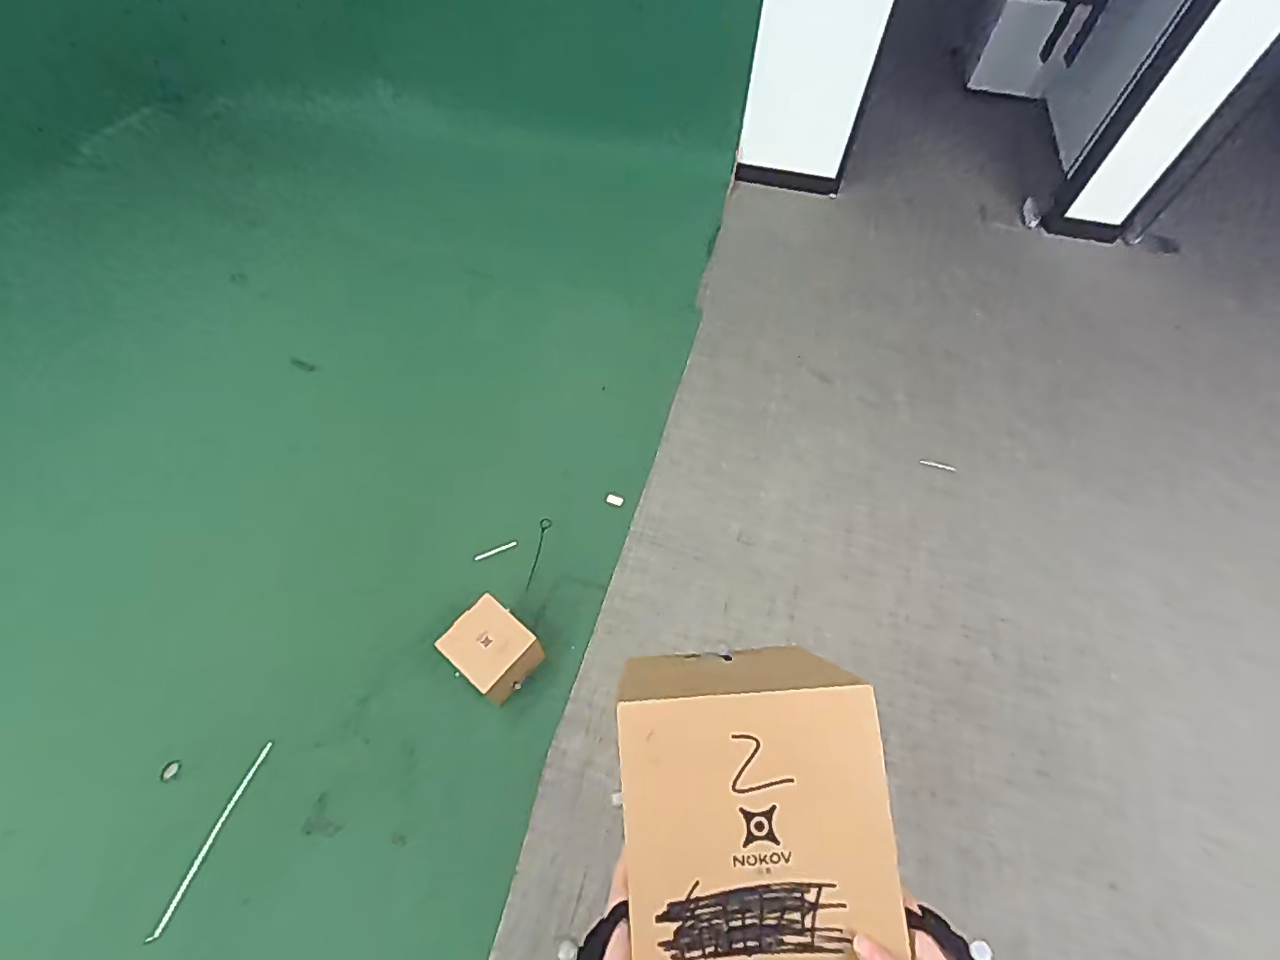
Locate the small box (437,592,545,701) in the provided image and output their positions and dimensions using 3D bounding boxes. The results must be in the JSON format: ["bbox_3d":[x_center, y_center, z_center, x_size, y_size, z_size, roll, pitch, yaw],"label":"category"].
[{"bbox_3d":[-0.357,0.414,1.325,0.179,0.176,0.168,36,64,19],"label":"small box"}]
